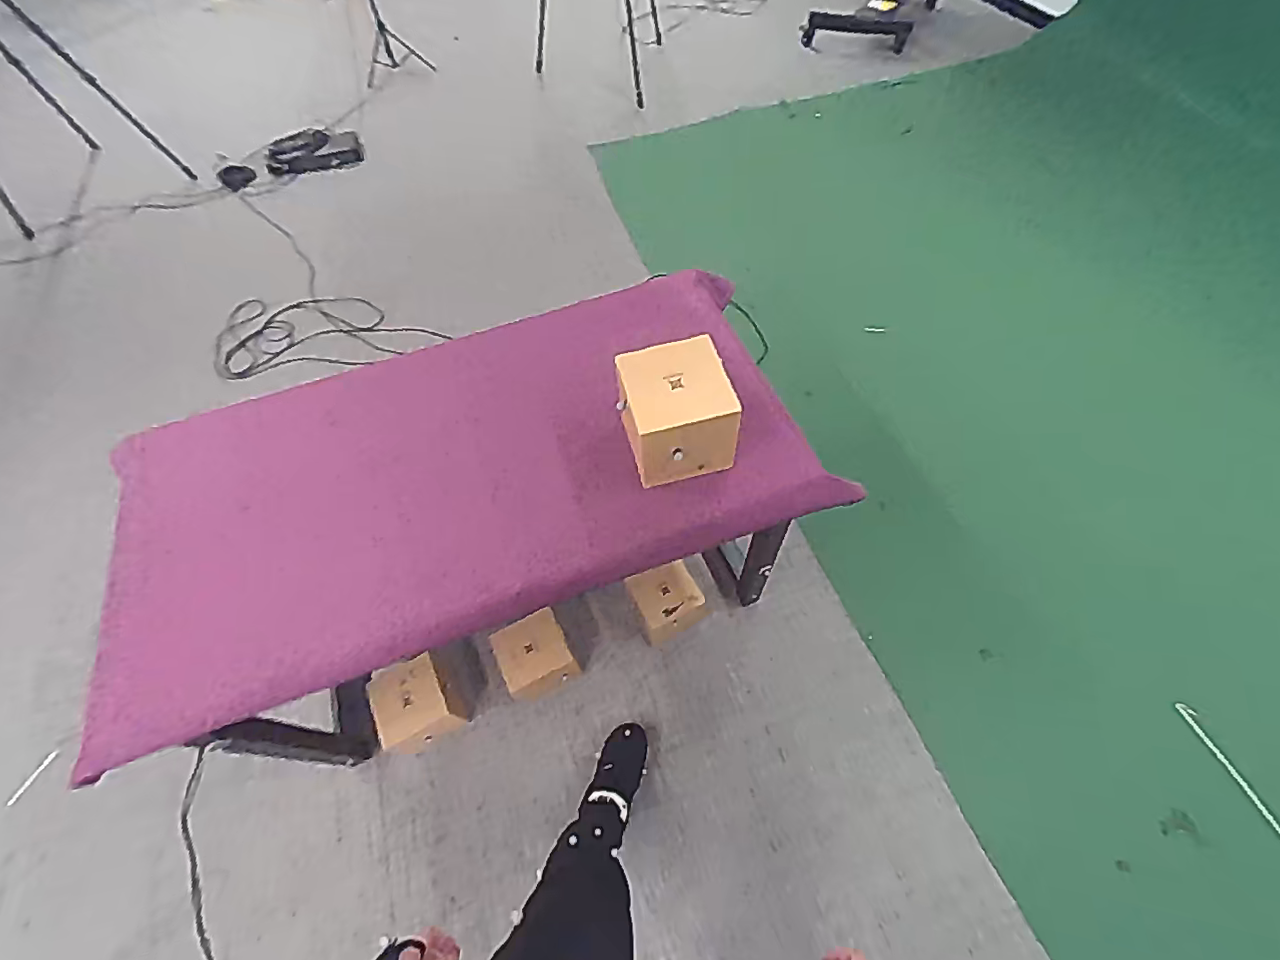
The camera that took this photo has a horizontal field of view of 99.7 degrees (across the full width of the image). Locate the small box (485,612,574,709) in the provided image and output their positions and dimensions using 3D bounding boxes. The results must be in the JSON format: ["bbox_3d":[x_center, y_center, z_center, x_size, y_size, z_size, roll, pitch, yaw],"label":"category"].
[{"bbox_3d":[-0.284,0.481,1.430,0.179,0.176,0.168,-25,59,-12],"label":"small box"}]

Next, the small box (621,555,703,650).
[{"bbox_3d":[0.057,0.343,1.500,0.168,0.176,0.179,-24,60,-13],"label":"small box"}]

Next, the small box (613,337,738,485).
[{"bbox_3d":[0.059,-0.109,0.926,0.168,0.176,0.179,-14,57,-5],"label":"small box"}]

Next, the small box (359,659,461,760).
[{"bbox_3d":[-0.578,0.588,1.375,0.168,0.176,0.179,-26,60,-13],"label":"small box"}]
